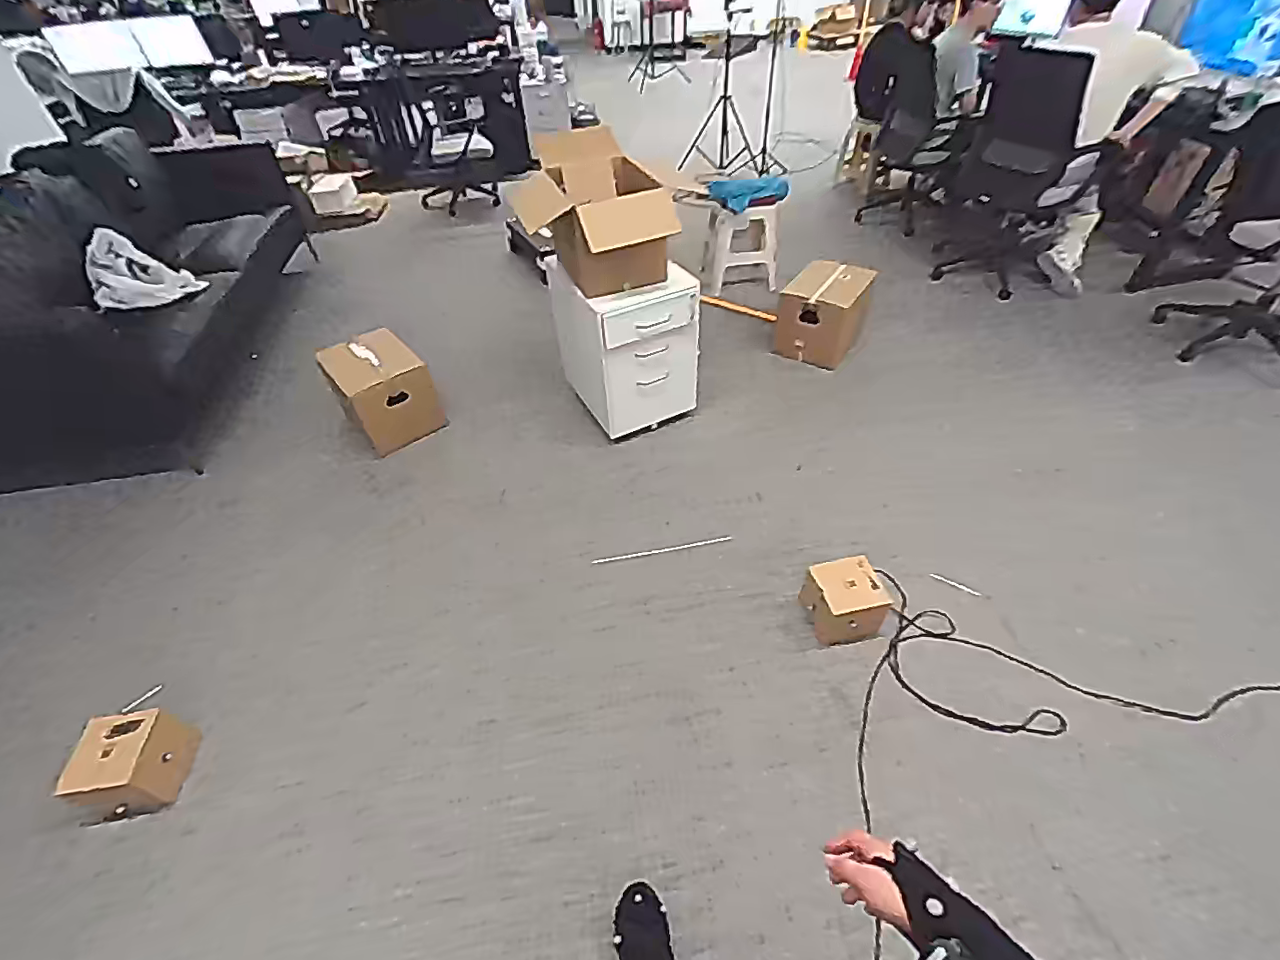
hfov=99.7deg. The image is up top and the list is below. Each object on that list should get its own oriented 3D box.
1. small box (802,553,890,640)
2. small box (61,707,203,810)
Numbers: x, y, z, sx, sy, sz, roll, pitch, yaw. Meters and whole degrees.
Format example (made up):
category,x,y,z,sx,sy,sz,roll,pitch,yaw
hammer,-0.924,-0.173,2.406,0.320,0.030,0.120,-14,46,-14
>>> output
category,x,y,z,sx,sy,sz,roll,pitch,yaw
small box,0.582,0.340,1.560,0.179,0.176,0.168,-11,46,-6
small box,-1.248,0.695,1.350,0.168,0.176,0.179,-8,46,-4
